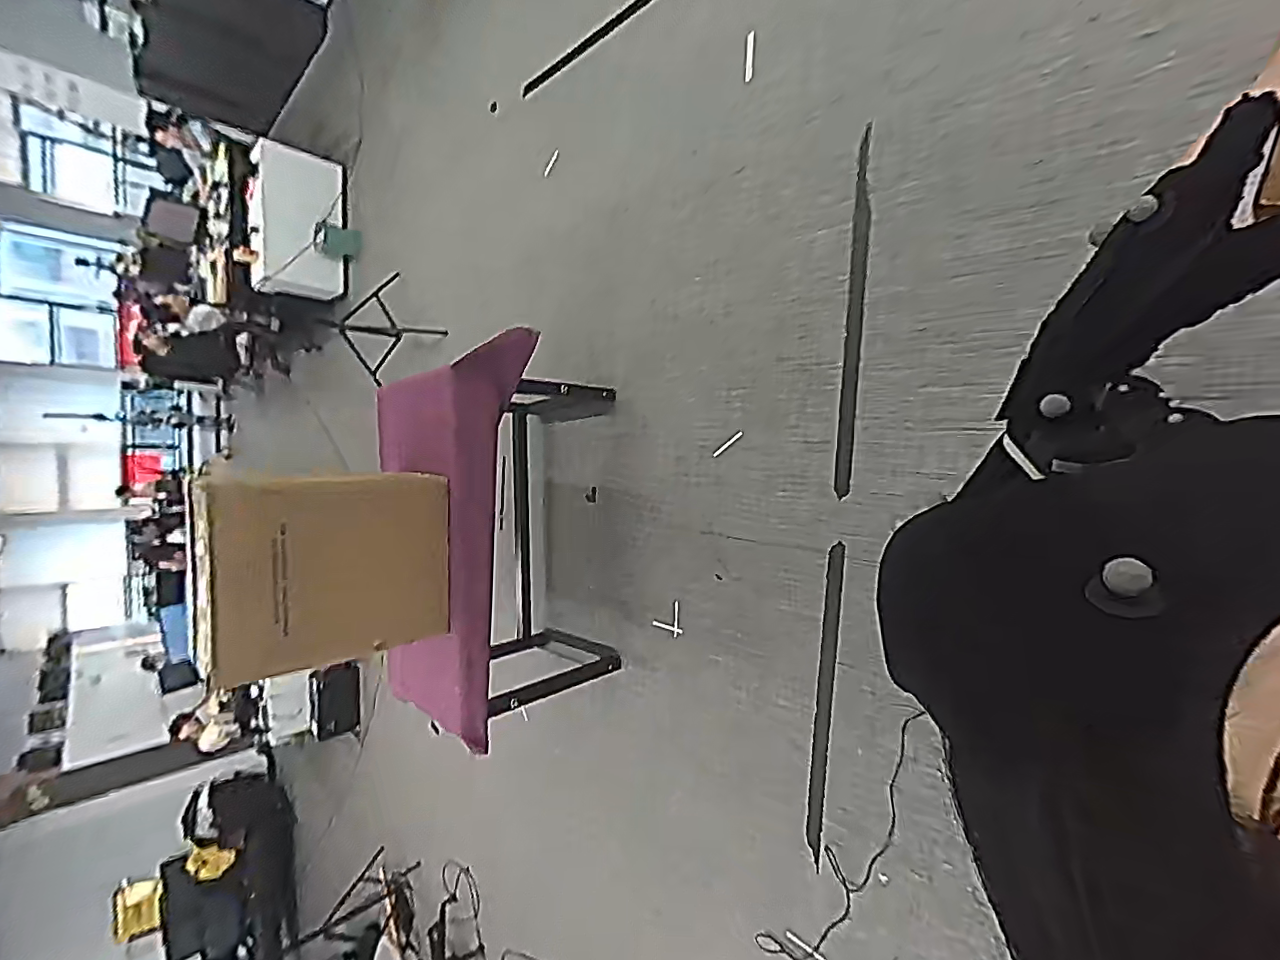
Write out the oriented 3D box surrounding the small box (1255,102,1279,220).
[{"bbox_3d":[0.421,-0.218,0.233,0.179,0.176,0.168,17,114,46],"label":"small box"}]
